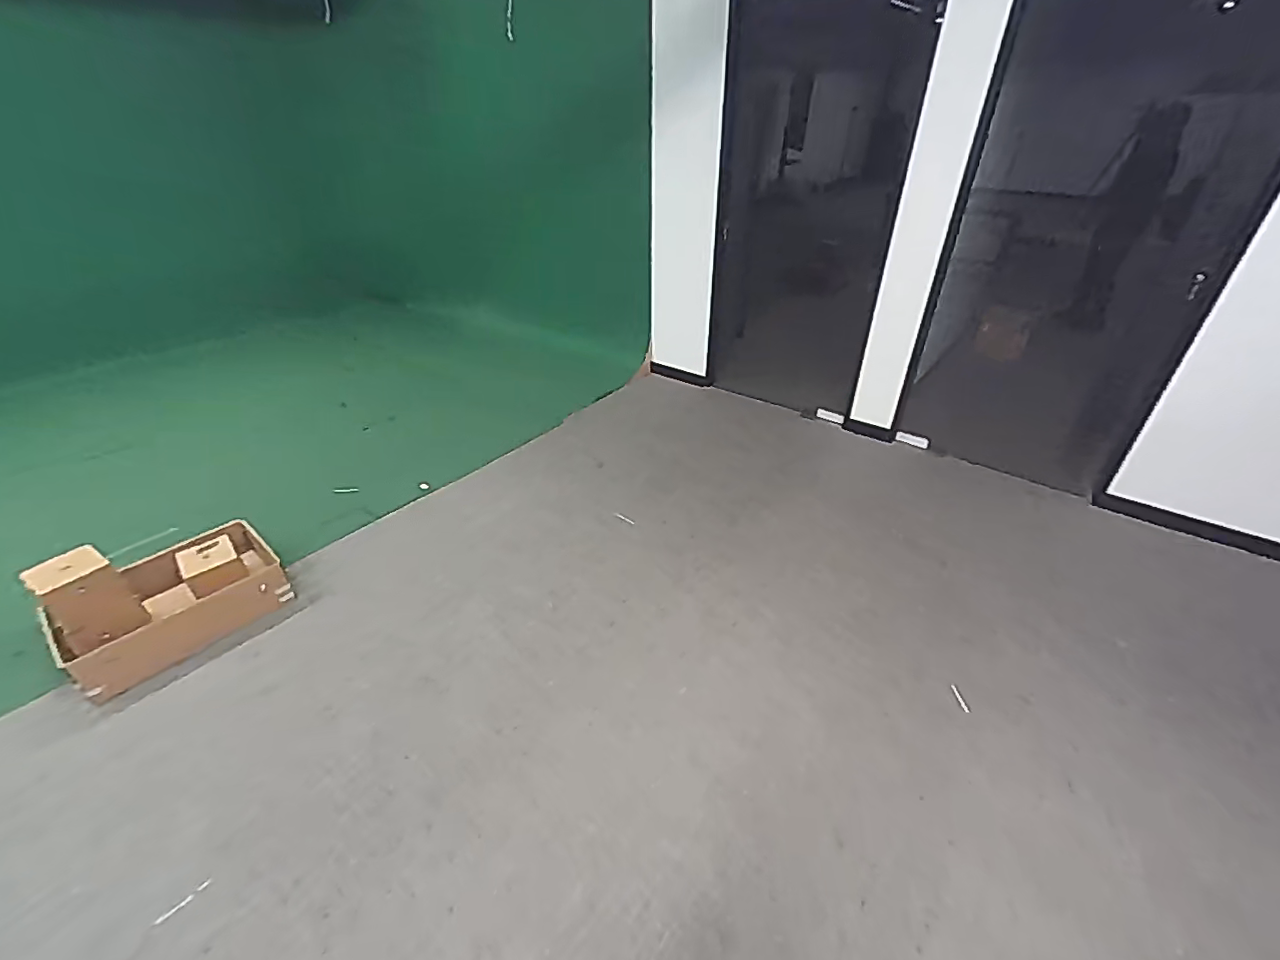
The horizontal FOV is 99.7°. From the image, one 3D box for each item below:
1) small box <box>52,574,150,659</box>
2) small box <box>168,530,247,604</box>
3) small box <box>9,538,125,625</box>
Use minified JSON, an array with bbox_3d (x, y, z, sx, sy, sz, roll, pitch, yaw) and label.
[{"bbox_3d":[-1.779,0.452,1.782,0.168,0.176,0.179,28,43,32],"label":"small box"},{"bbox_3d":[-1.581,0.320,1.981,0.168,0.176,0.179,-28,45,-34],"label":"small box"},{"bbox_3d":[-1.778,0.318,1.686,0.168,0.176,0.179,21,37,24],"label":"small box"}]
